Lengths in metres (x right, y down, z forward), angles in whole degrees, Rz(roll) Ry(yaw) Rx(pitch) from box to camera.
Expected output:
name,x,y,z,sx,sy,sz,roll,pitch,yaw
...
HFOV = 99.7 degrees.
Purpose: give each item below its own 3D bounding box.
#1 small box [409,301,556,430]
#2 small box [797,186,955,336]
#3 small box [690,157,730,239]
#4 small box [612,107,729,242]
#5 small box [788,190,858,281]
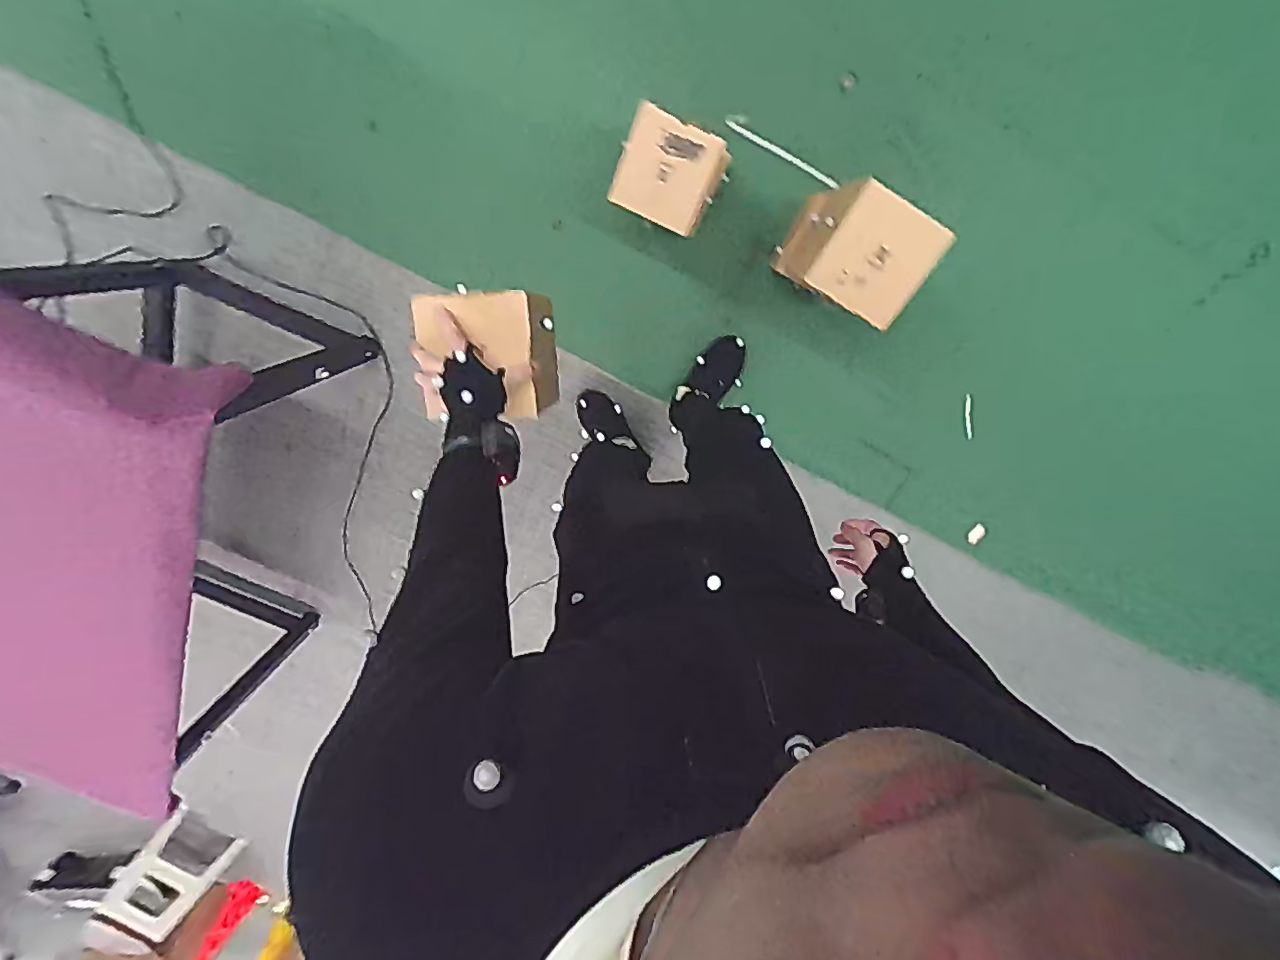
name,x,y,z,sx,sy,sz,roll,pitch,yaw
small box,-0.232,-0.178,0.839,0.168,0.176,0.179,-1,106,5
small box,0.396,-0.384,0.948,0.168,0.176,0.179,30,116,-7
small box,0.093,-0.667,1.225,0.168,0.176,0.179,28,114,-5
small box,0.062,-0.598,1.079,0.168,0.176,0.179,25,116,-3
small box,0.420,-0.455,1.096,0.168,0.176,0.179,29,115,-7
